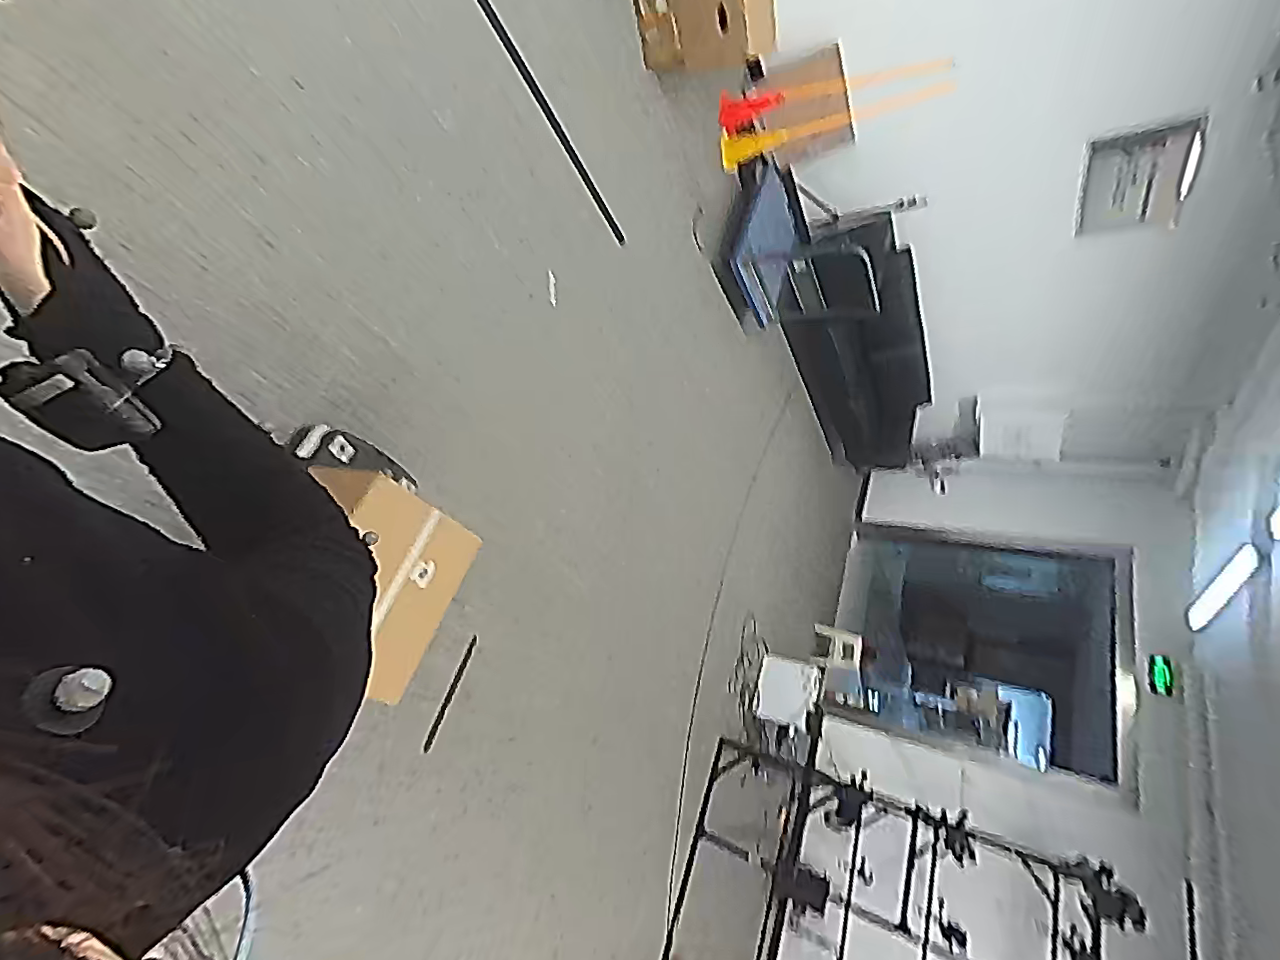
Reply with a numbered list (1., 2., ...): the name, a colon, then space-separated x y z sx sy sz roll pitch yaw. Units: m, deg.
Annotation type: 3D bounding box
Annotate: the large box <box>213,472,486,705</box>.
1. large box: -0.627 0.230 1.204 0.320 0.320 0.408 49 54 -46
